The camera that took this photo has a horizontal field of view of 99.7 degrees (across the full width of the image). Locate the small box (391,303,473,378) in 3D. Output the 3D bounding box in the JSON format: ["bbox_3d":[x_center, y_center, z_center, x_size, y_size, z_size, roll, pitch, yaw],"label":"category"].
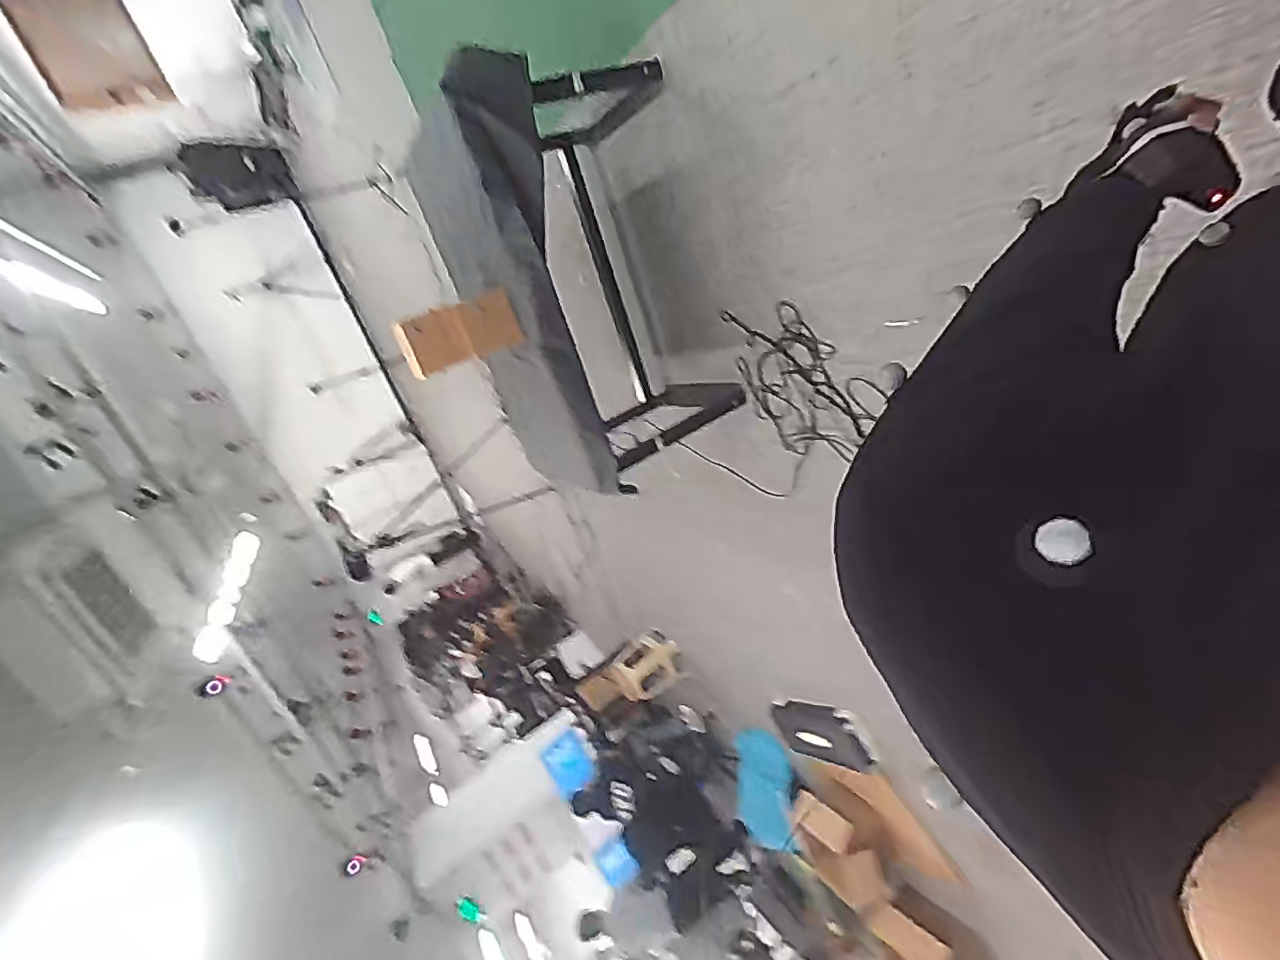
[{"bbox_3d":[-0.640,-0.428,1.671,0.168,0.176,0.179,16,130,57],"label":"small box"}]
